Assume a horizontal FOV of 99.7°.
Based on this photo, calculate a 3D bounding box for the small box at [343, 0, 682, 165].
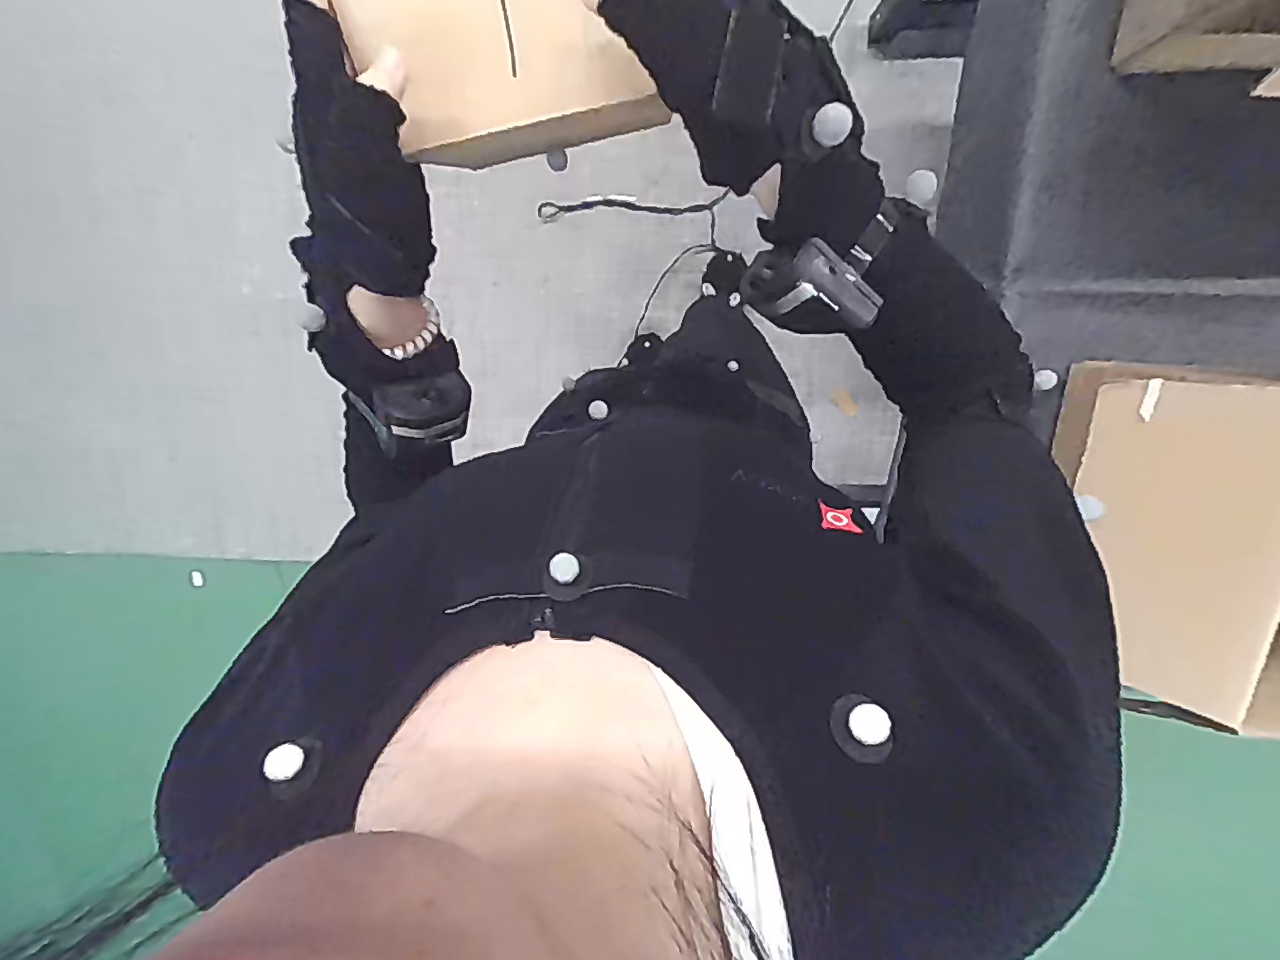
[{"bbox_3d":[-0.073,-0.307,0.326,0.168,0.176,0.179,-10,118,5],"label":"small box"}]
